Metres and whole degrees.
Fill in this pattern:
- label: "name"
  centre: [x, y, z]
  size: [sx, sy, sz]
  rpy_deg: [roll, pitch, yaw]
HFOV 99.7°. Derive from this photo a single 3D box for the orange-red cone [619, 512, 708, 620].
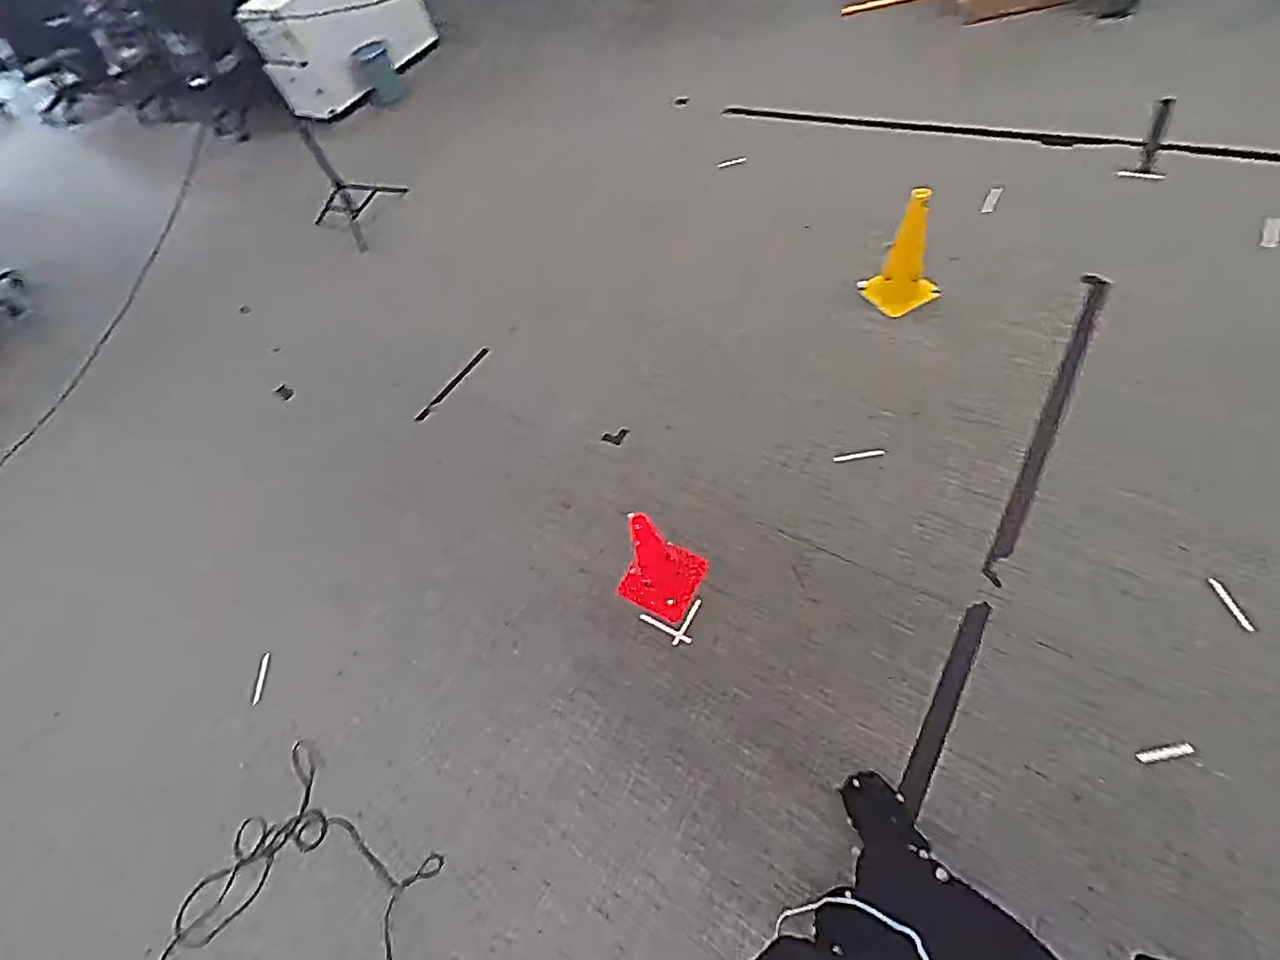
- label: "orange-red cone"
  centre: [0.034, 0.177, 1.352]
  size: [0.198, 0.360, 0.199]
  rpy_deg: [24, 66, 24]
